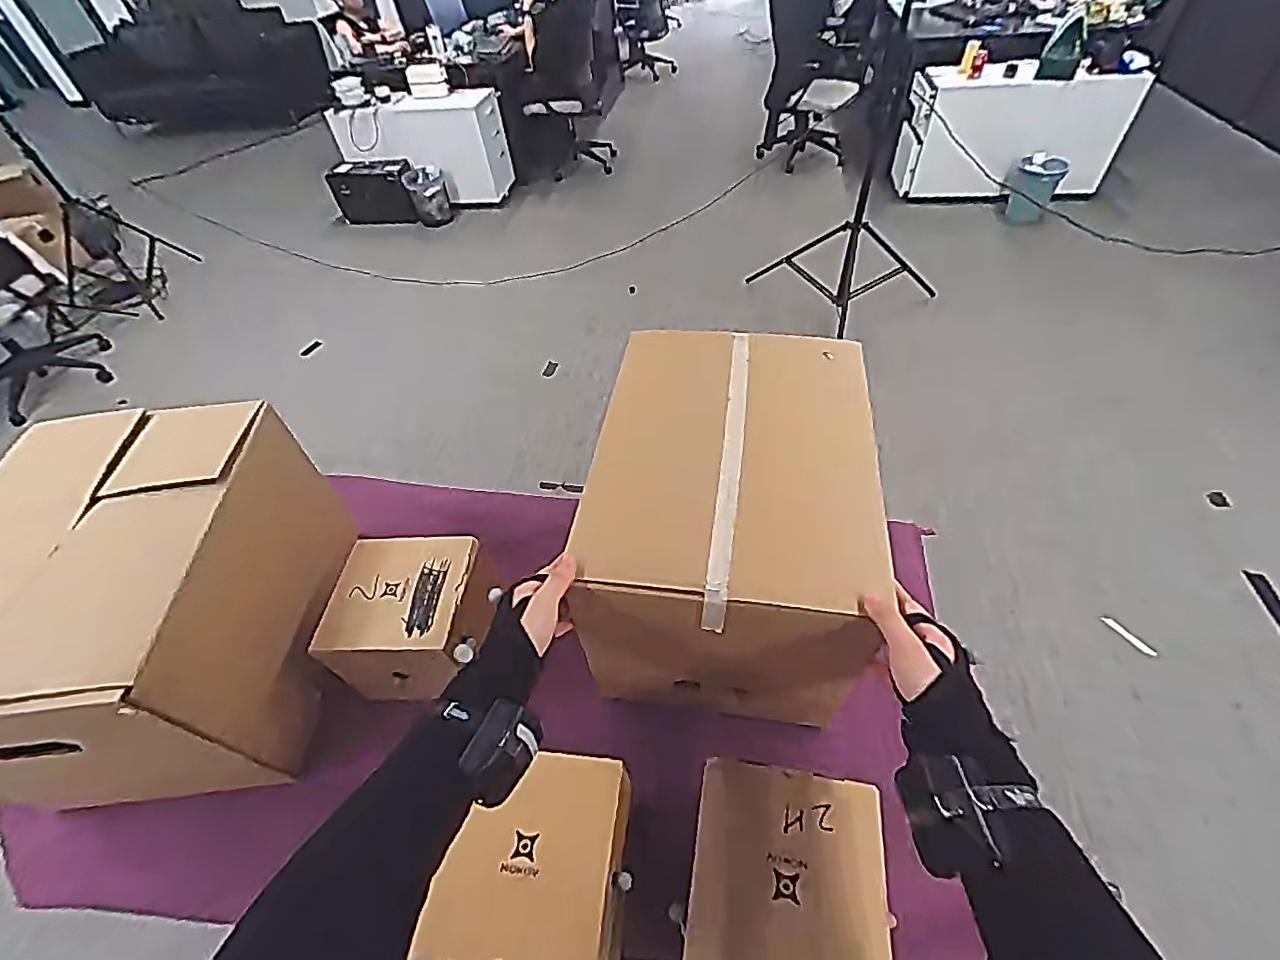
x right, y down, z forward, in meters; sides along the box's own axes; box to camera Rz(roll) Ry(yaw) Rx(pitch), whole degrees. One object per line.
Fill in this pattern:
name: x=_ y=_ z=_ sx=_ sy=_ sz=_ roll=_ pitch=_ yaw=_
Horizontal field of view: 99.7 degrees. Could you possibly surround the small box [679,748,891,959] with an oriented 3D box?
small box: x=0.135 y=0.393 z=0.528 sx=0.168 sy=0.176 sz=0.179 roll=6 pitch=48 yaw=11
